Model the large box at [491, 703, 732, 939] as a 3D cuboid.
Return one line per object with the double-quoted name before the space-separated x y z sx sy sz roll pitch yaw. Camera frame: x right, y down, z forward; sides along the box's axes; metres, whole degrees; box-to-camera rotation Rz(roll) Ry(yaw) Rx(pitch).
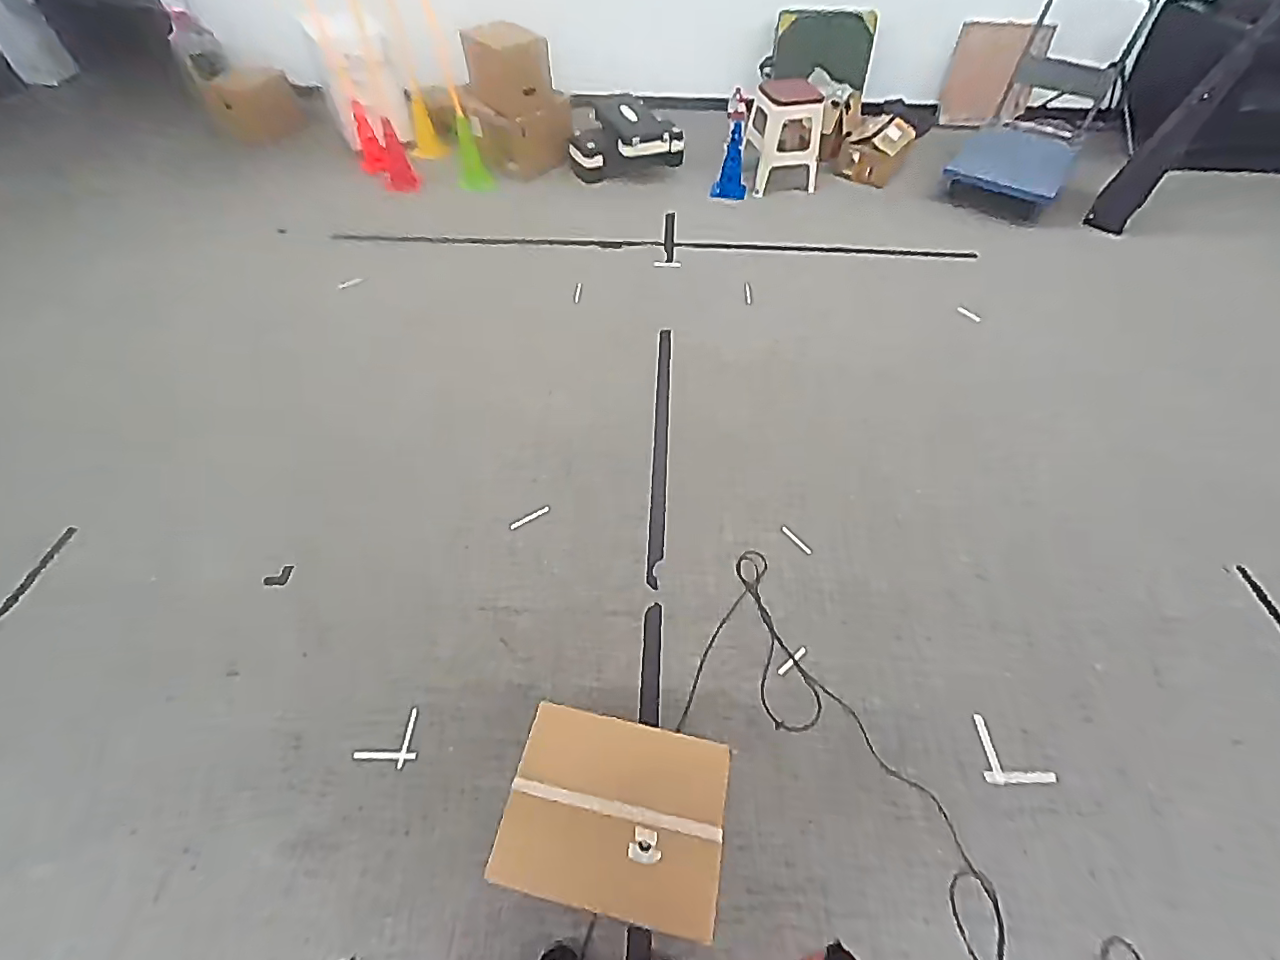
"large box" -0.043 0.707 1.123 0.408 0.320 0.320 10 51 7
